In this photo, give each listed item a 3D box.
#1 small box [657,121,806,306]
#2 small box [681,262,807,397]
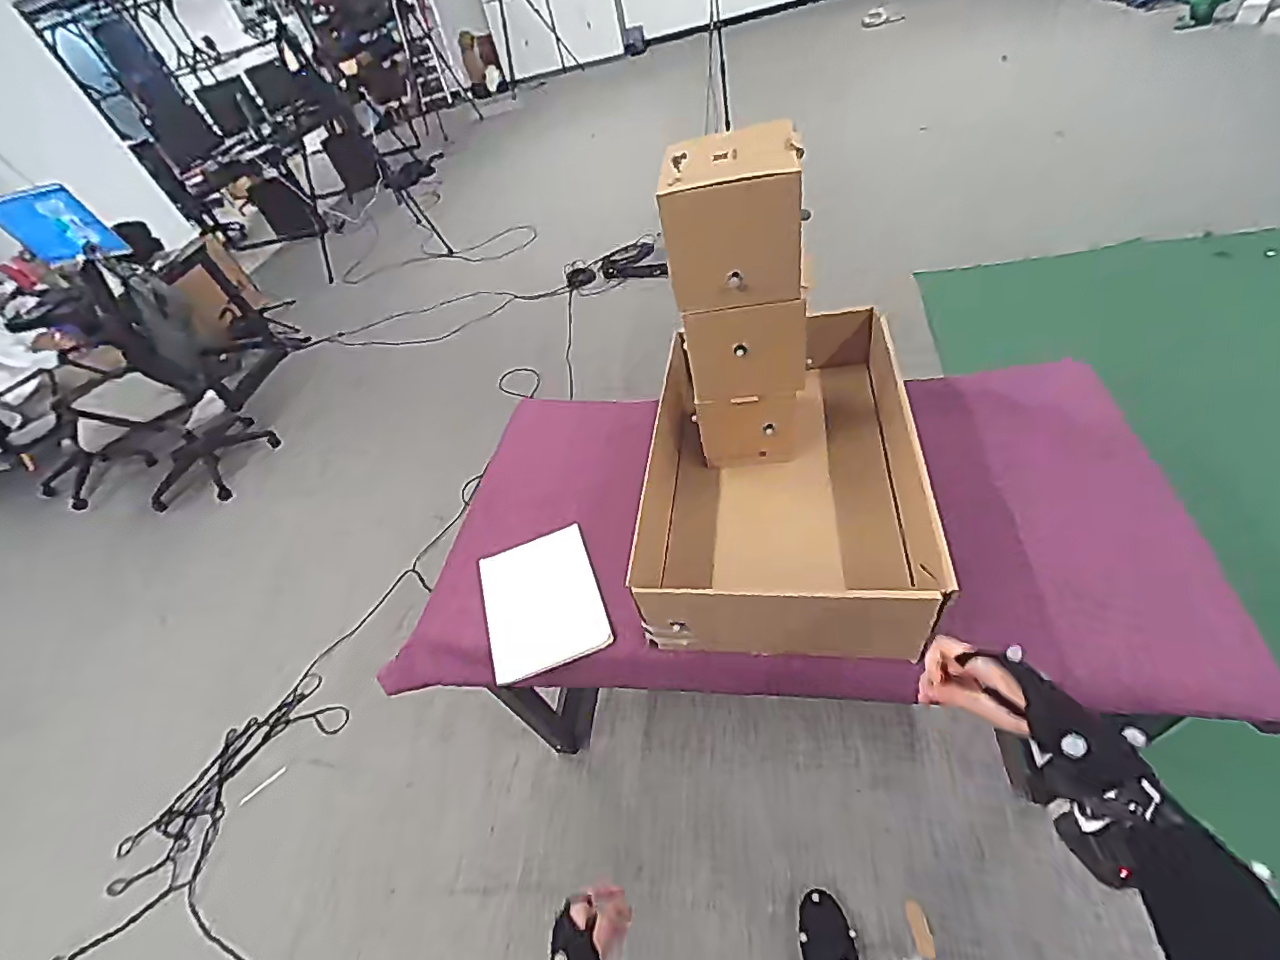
[{"bbox_3d":[0.131,-0.361,0.748,0.179,0.176,0.168,-2,49,14],"label":"small box"},{"bbox_3d":[0.167,-0.252,0.865,0.179,0.176,0.168,-4,48,13],"label":"small box"}]
